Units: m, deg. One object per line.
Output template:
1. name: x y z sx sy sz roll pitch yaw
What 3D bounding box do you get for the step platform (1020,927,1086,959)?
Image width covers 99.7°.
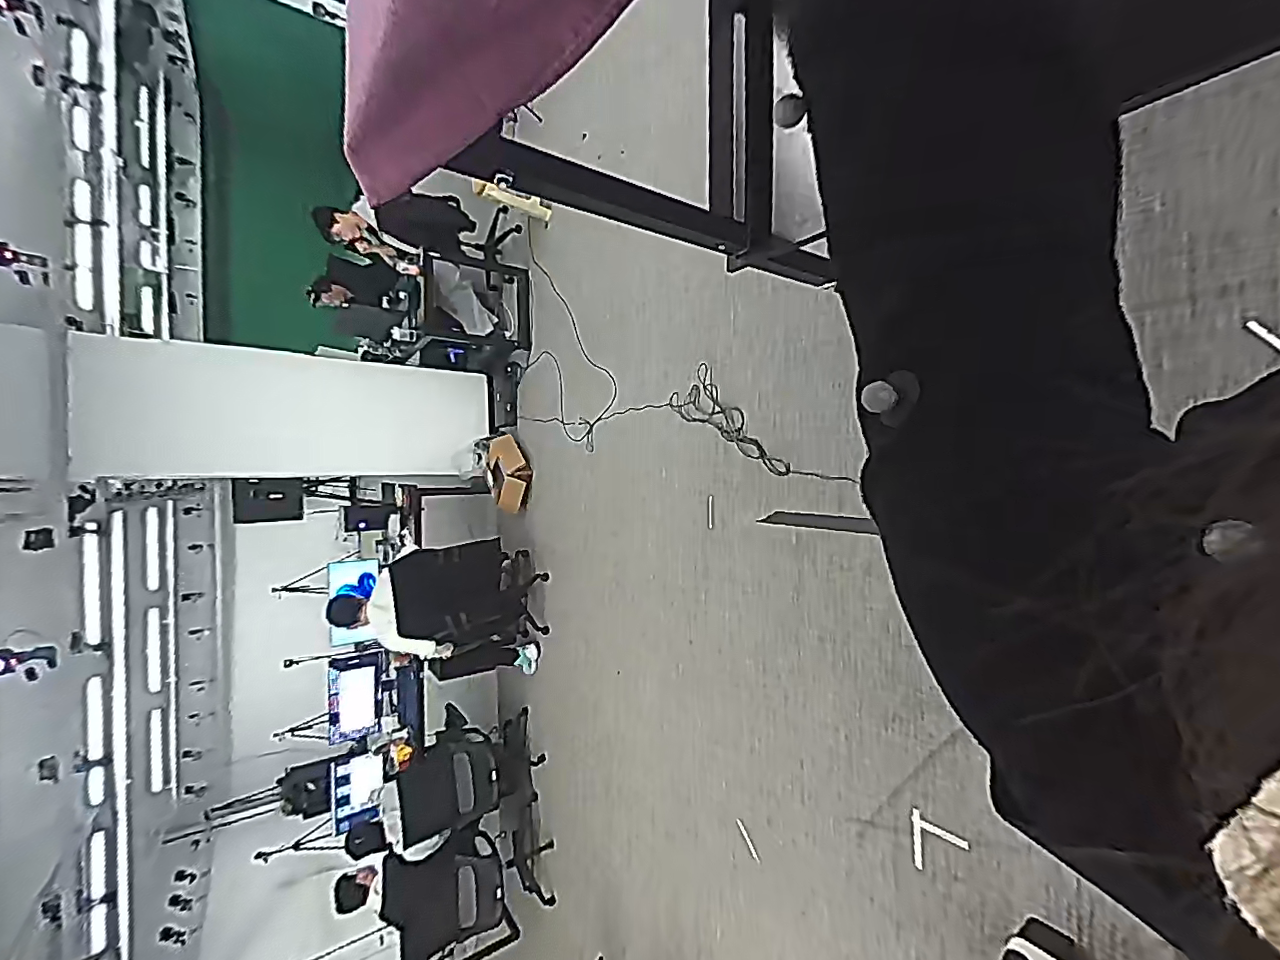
1. step platform: 1.085 1.249 1.011 0.684 0.204 0.286 11 100 54
